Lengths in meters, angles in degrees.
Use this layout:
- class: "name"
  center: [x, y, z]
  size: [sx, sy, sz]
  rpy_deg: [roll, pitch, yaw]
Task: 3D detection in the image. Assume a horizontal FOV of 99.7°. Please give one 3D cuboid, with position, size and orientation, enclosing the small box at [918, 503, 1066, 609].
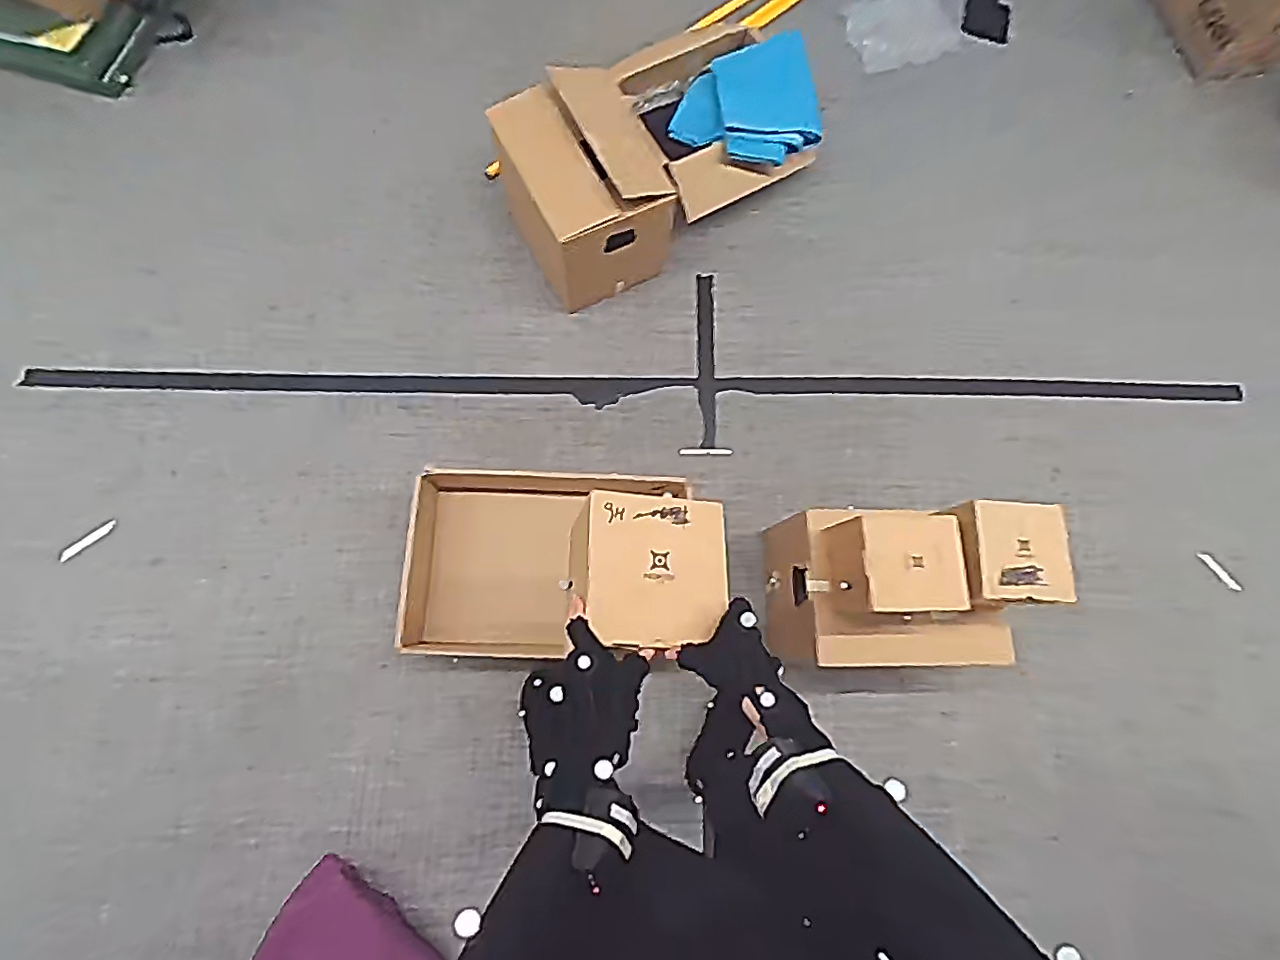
- class: "small box"
  center: [0.656, 0.151, 1.030]
  size: [0.168, 0.176, 0.179]
  rpy_deg: [5, 74, -3]

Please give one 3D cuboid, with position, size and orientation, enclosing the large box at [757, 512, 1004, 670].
- class: "large box"
  center: [0.517, 0.255, 1.246]
  size: [0.408, 0.320, 0.320]
  rpy_deg: [0, 77, -5]

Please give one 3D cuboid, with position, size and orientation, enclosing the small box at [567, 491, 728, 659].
- class: "small box"
  center: [0.002, 0.130, 0.685]
  size: [0.168, 0.176, 0.179]
  rpy_deg: [7, 67, -13]
